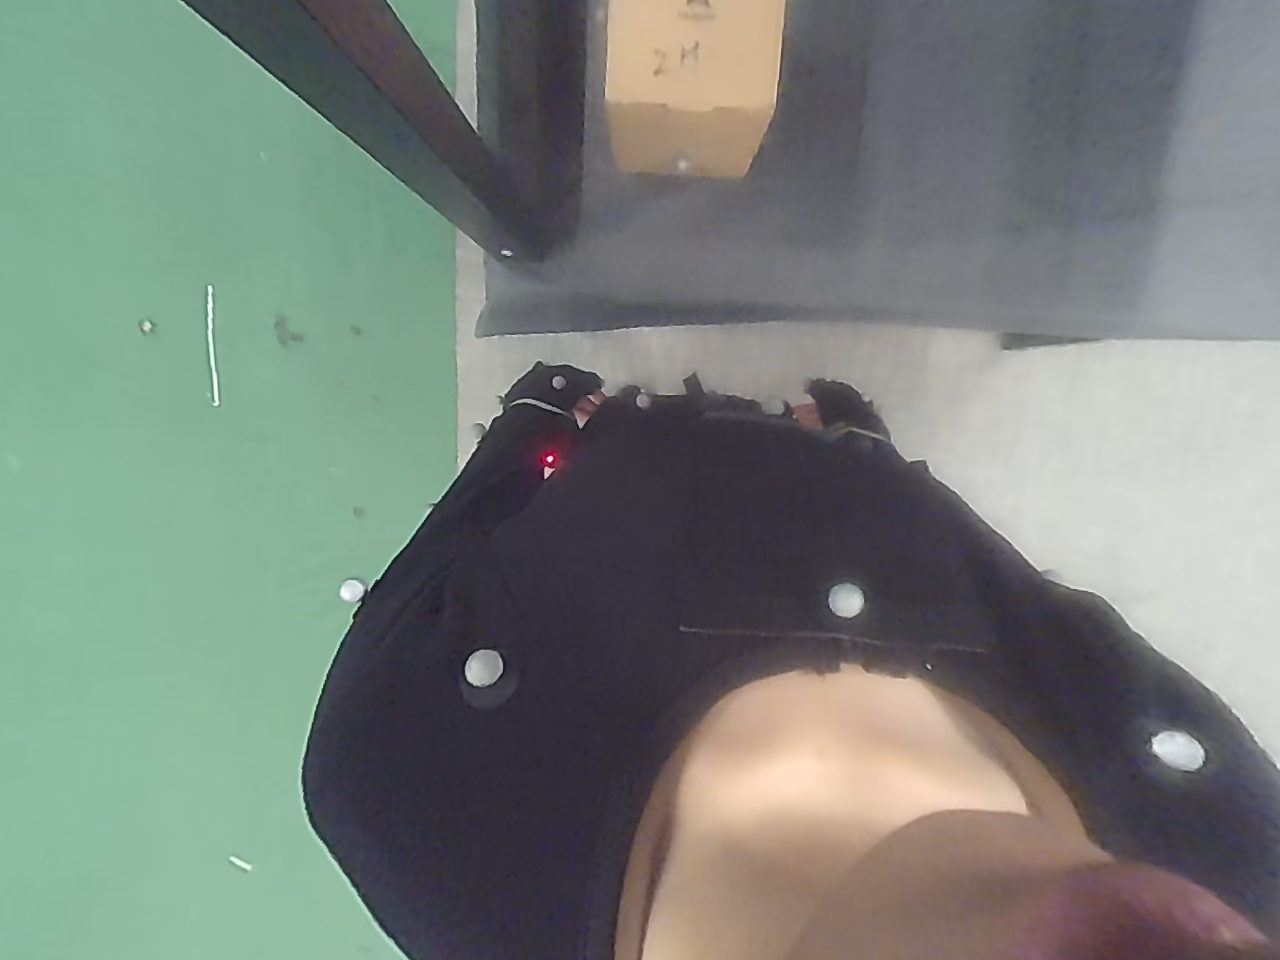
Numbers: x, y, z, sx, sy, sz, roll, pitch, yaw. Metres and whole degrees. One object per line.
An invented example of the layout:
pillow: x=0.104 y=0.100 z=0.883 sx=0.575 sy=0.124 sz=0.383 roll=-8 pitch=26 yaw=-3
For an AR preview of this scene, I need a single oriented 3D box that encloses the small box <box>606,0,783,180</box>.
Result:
small box: x=0.053 y=-0.455 z=0.586 sx=0.168 sy=0.176 sz=0.179 roll=3 pitch=99 yaw=1
